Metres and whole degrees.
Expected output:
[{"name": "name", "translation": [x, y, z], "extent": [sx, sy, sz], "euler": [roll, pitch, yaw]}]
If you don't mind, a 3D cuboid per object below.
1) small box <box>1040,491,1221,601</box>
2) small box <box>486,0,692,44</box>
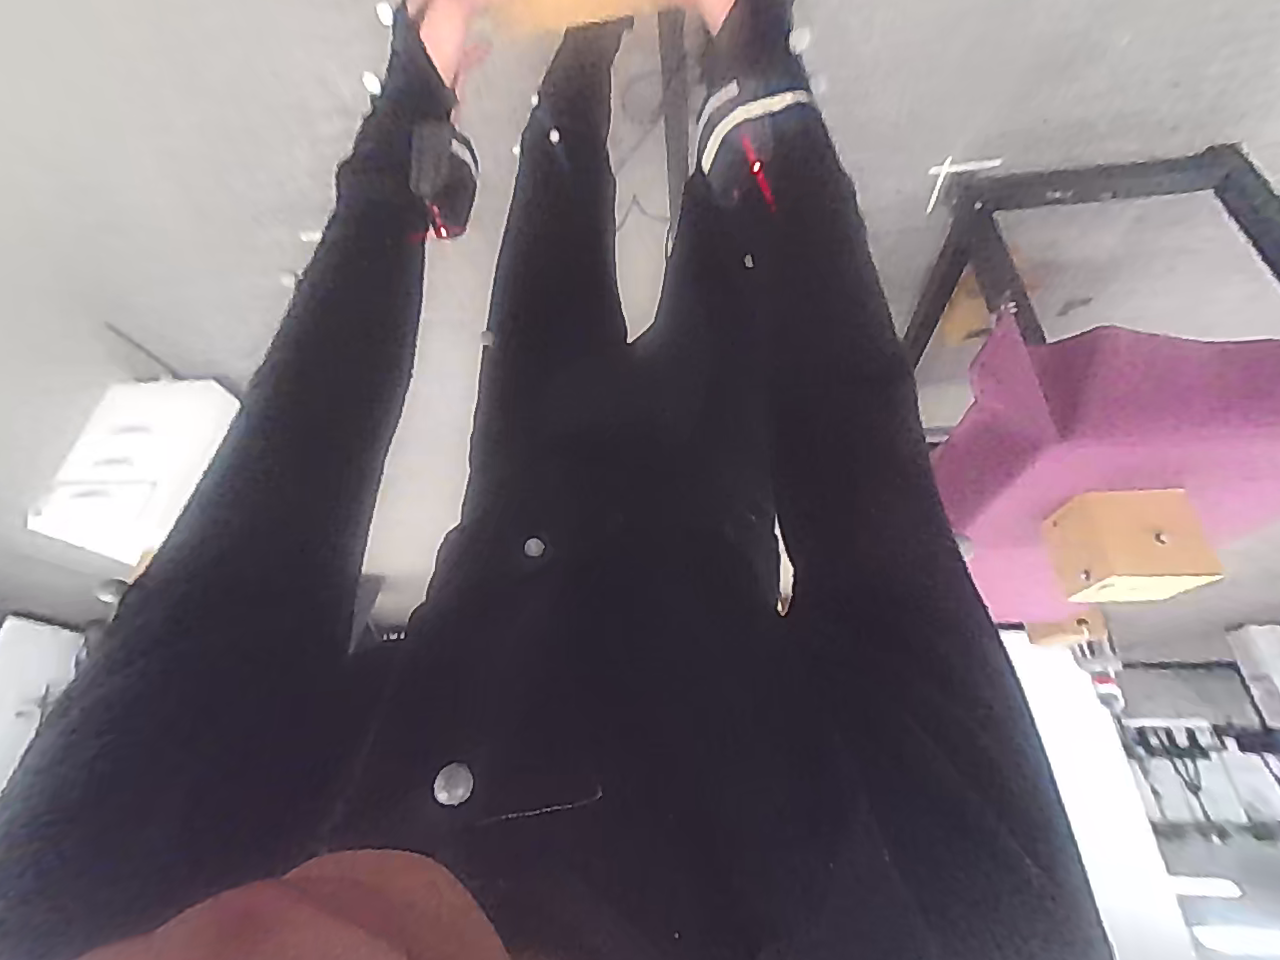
[{"name": "small box", "translation": [0.928, 0.128, 1.045], "extent": [0.179, 0.176, 0.168], "euler": [-4, 151, 8]}, {"name": "small box", "translation": [-0.052, -0.504, 0.437], "extent": [0.179, 0.176, 0.168], "euler": [-5, 154, 7]}]
